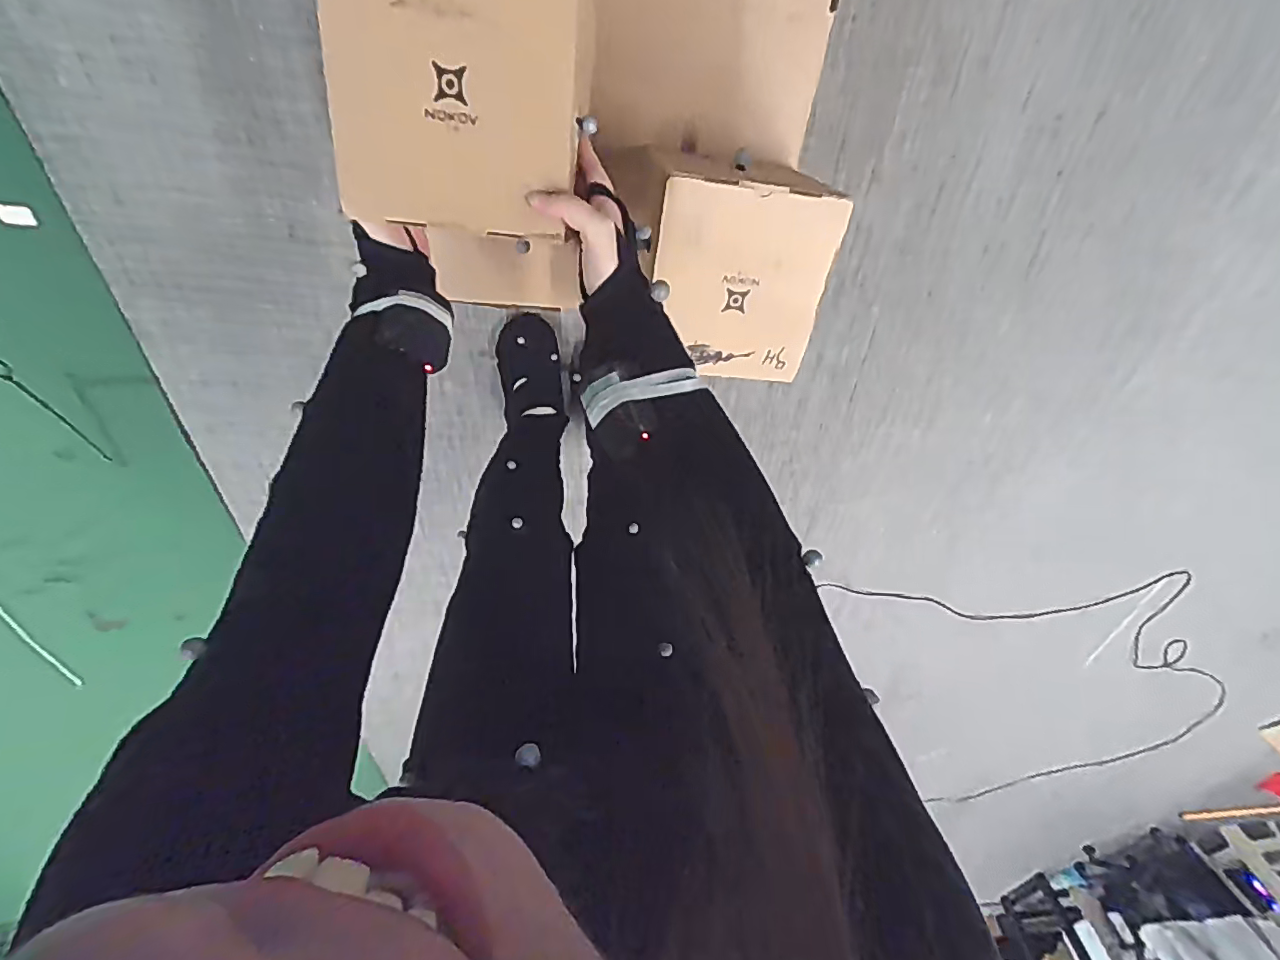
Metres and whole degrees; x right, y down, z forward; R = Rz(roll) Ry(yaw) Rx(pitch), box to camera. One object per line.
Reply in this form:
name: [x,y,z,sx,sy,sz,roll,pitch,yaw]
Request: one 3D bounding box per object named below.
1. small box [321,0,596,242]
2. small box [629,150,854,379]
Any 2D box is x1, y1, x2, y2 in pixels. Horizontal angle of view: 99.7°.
small box: [-0.127,-0.302,0.437,0.168,0.176,0.179,6,116,-3]
small box: [0.083,-0.224,0.556,0.168,0.176,0.179,3,126,-9]
